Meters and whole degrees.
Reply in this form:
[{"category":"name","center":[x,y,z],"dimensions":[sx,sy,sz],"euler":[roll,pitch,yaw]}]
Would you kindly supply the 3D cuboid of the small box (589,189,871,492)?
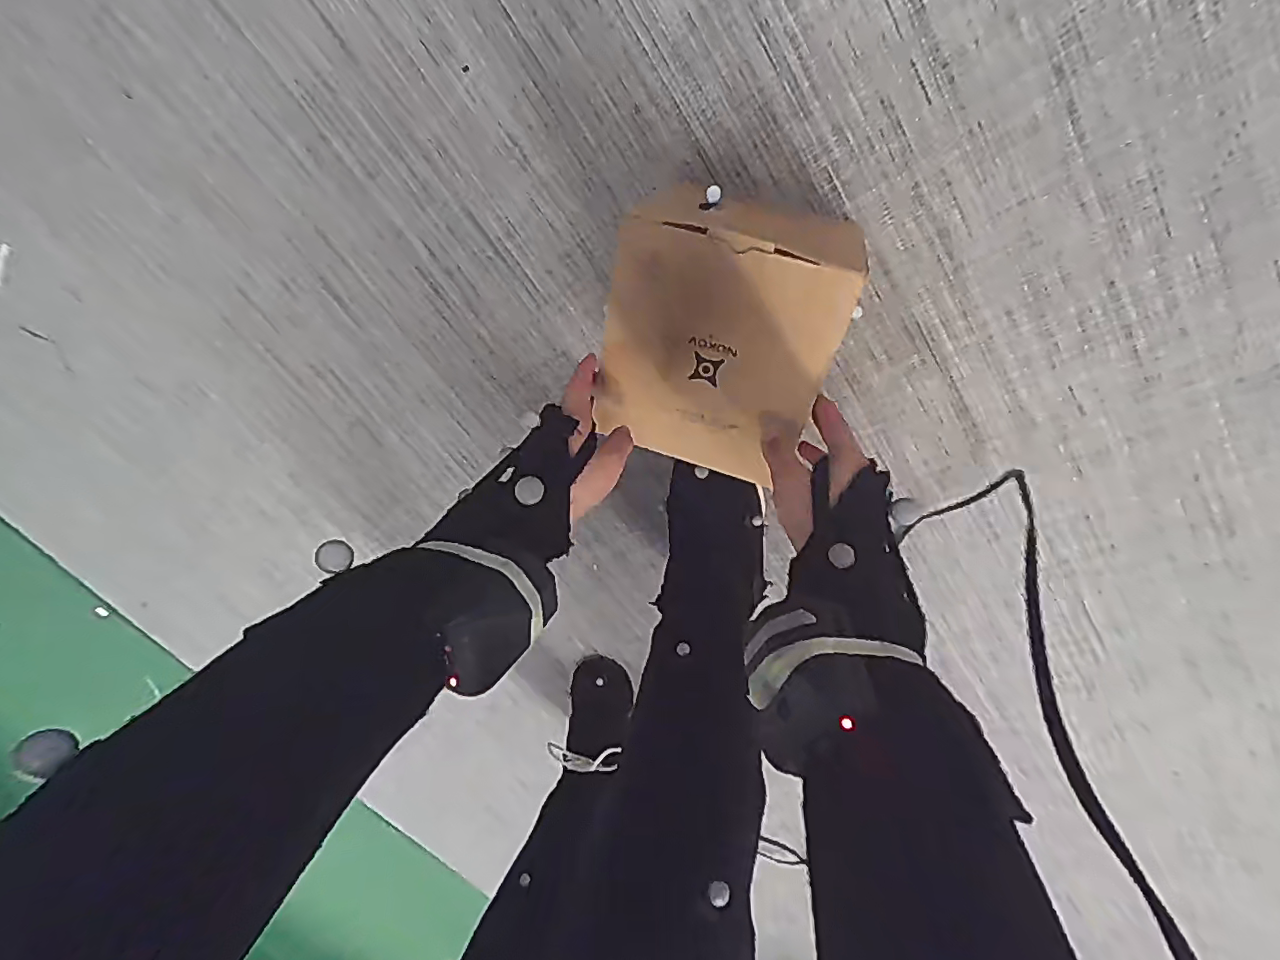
[{"category":"small box","center":[0.072,-0.126,0.450],"dimensions":[0.168,0.176,0.179],"euler":[19,128,9]}]
